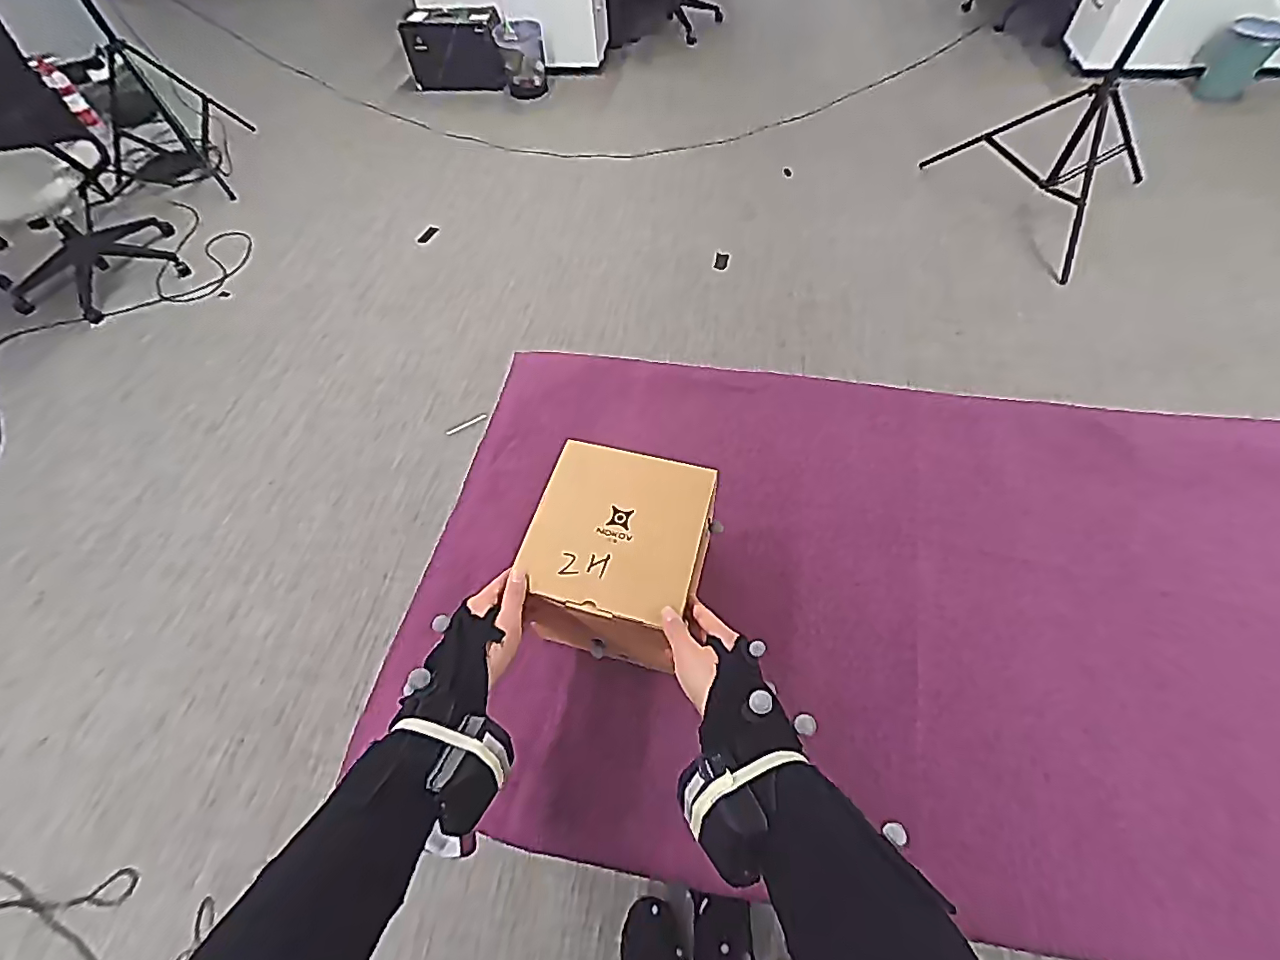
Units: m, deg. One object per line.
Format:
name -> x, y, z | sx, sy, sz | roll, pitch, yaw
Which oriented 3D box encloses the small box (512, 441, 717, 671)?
small box -> -0.018, 0.088, 0.599 | 0.168, 0.176, 0.179 | 12, 59, 11
